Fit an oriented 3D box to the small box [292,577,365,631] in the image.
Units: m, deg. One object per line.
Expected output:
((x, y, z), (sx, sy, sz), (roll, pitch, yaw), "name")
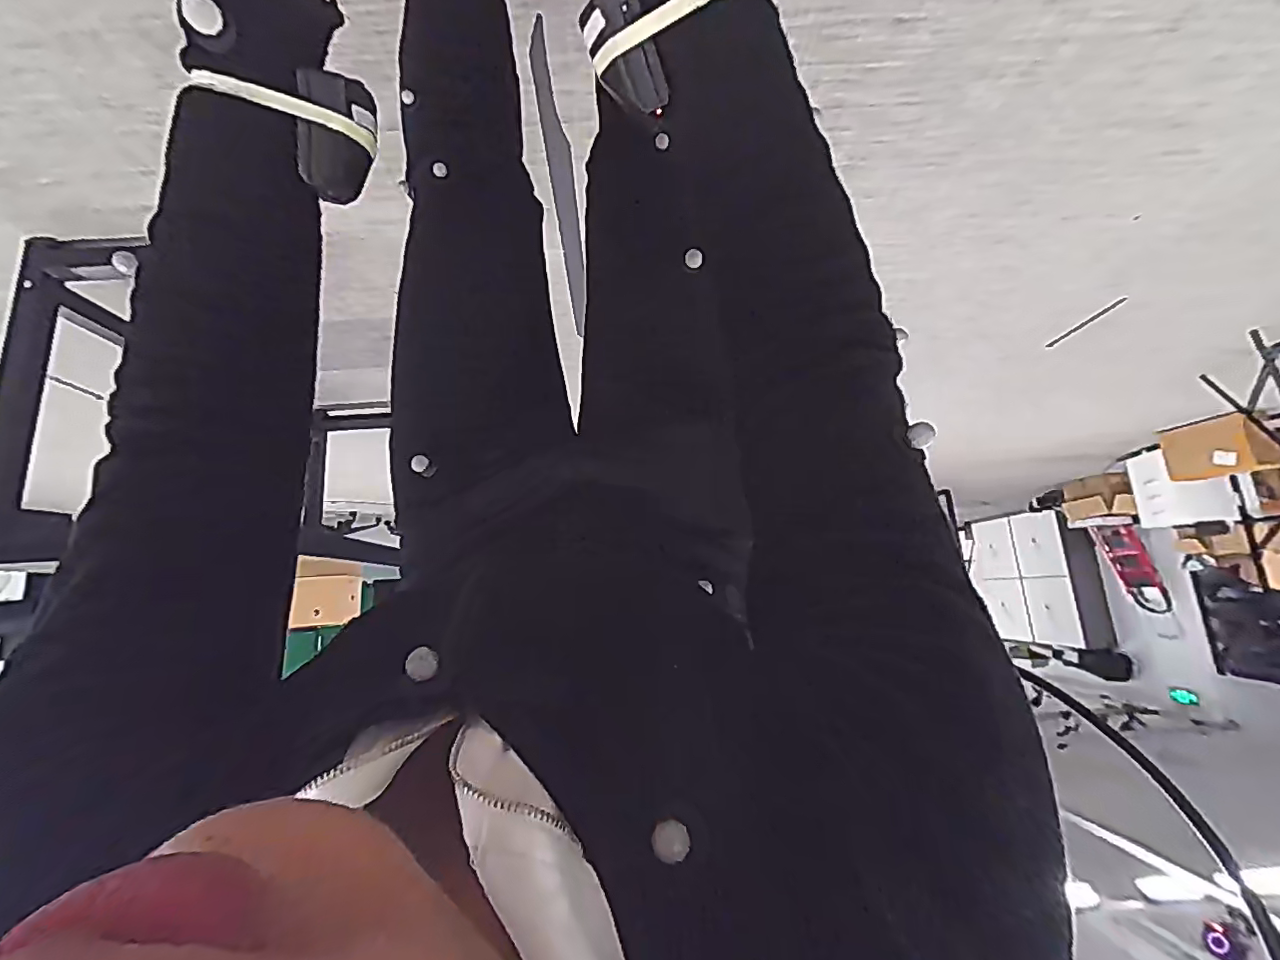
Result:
((-1.093, 0.435, 1.908), (0.179, 0.176, 0.168), (-3, 167, -4), "small box")
